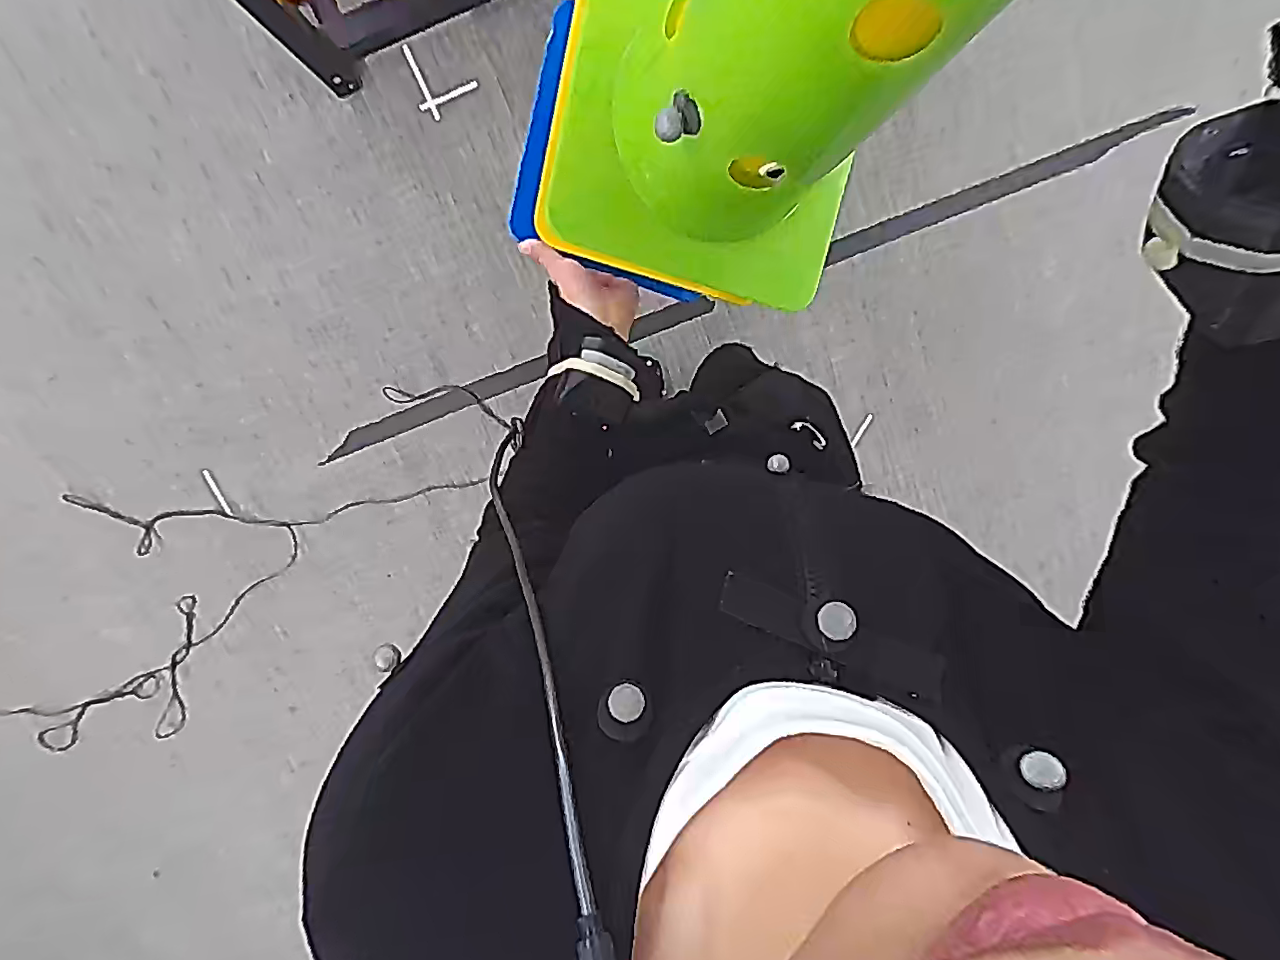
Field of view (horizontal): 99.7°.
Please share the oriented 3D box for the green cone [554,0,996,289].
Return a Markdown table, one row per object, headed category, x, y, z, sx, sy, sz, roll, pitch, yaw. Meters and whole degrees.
| category | x | y | z | sx | sy | sz | roll | pitch | yaw |
| --- | --- | --- | --- | --- | --- | --- | --- | --- | --- |
| green cone | 0.098 | -0.206 | 0.179 | 0.200 | 0.368 | 0.202 | 11 | 100 | -15 |
